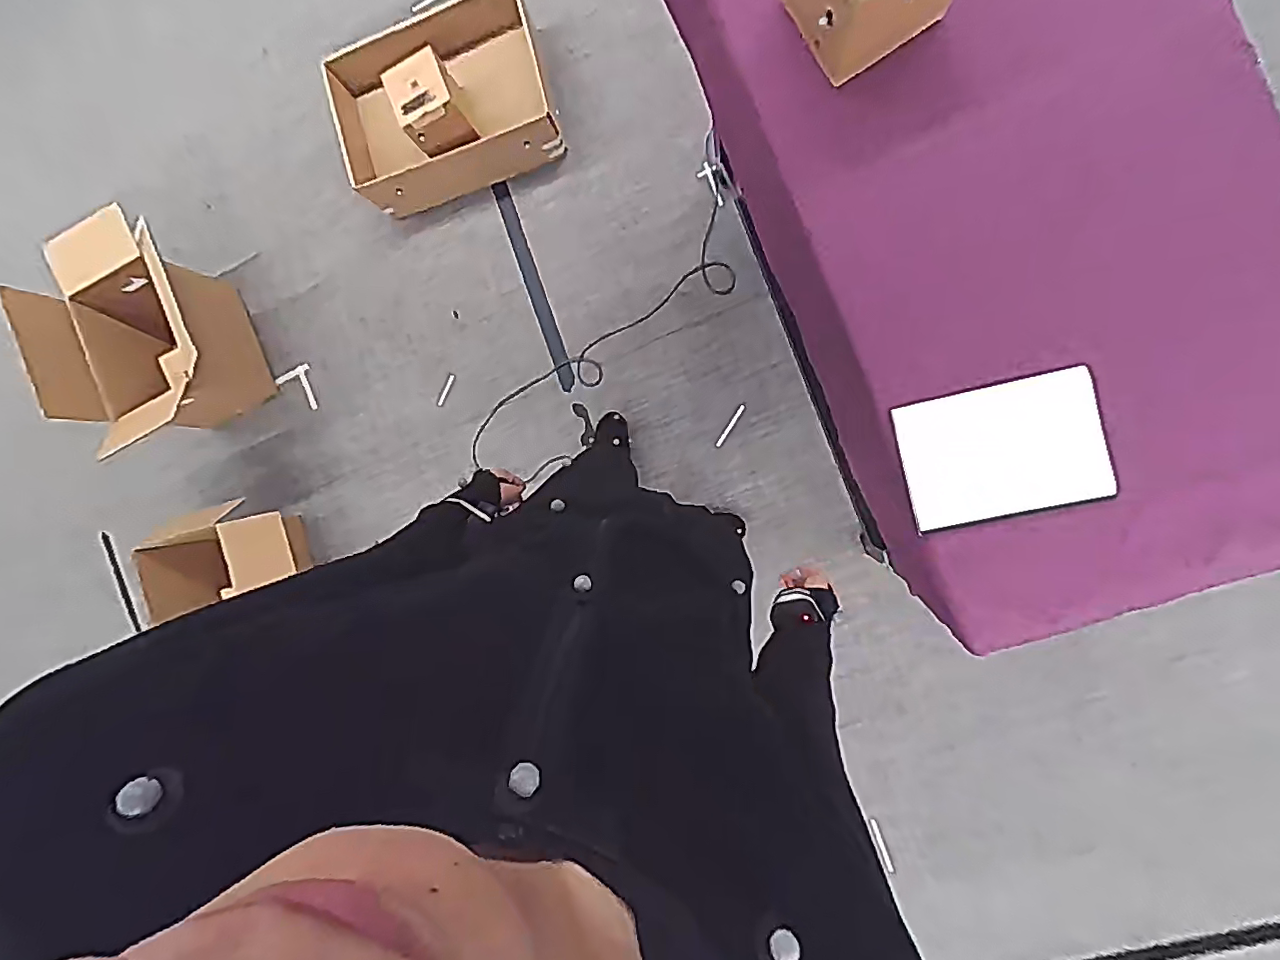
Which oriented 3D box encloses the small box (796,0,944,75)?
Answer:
[{"bbox_3d":[0.316,-0.701,0.717,0.179,0.176,0.168,-28,88,9],"label":"small box"}]
